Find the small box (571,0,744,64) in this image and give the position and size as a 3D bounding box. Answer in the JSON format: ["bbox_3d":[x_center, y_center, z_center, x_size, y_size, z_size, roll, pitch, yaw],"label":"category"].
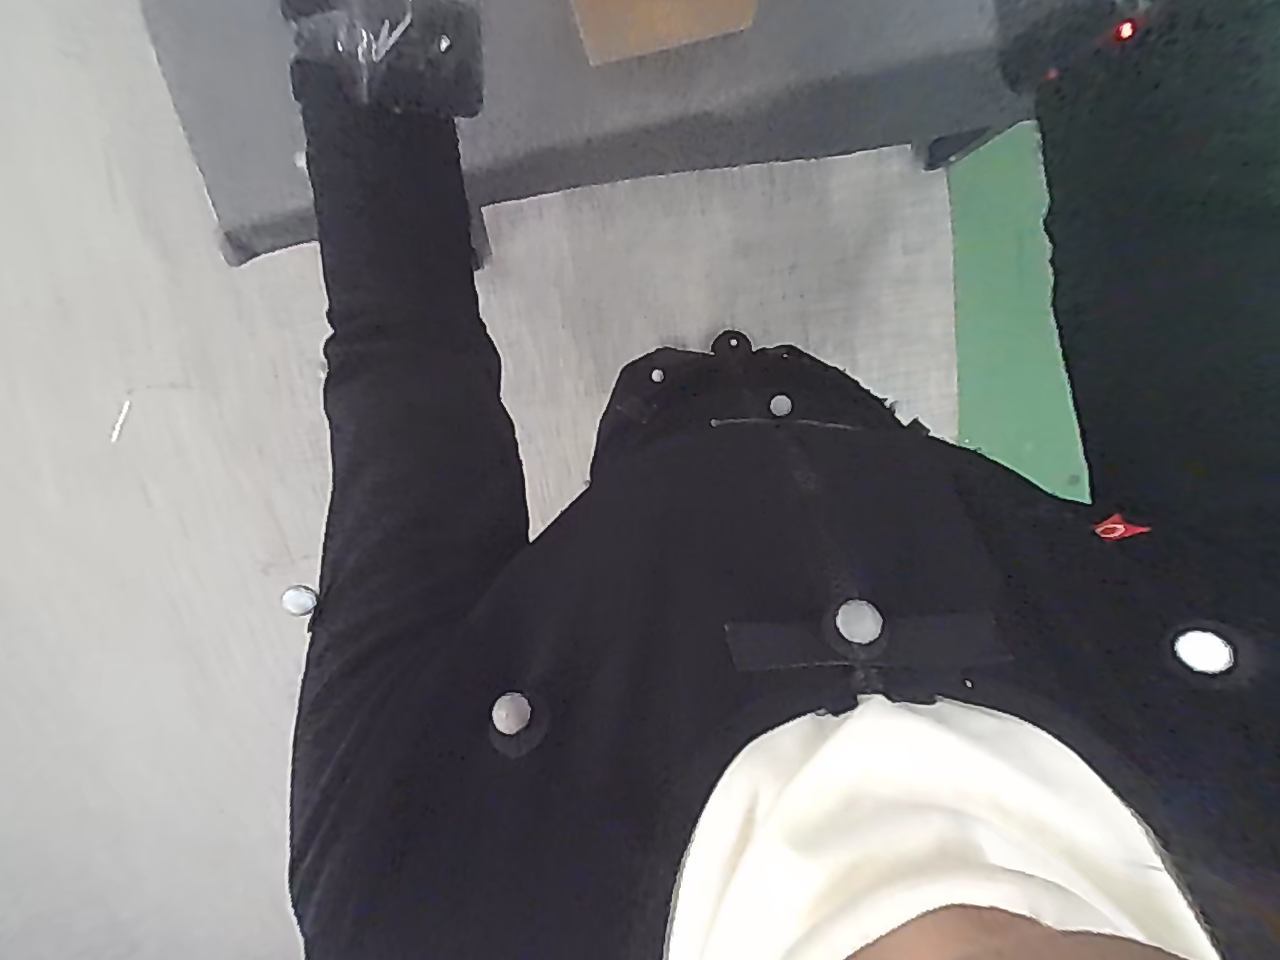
[{"bbox_3d":[0.009,-0.529,0.502,0.179,0.176,0.168,-10,104,5],"label":"small box"}]
